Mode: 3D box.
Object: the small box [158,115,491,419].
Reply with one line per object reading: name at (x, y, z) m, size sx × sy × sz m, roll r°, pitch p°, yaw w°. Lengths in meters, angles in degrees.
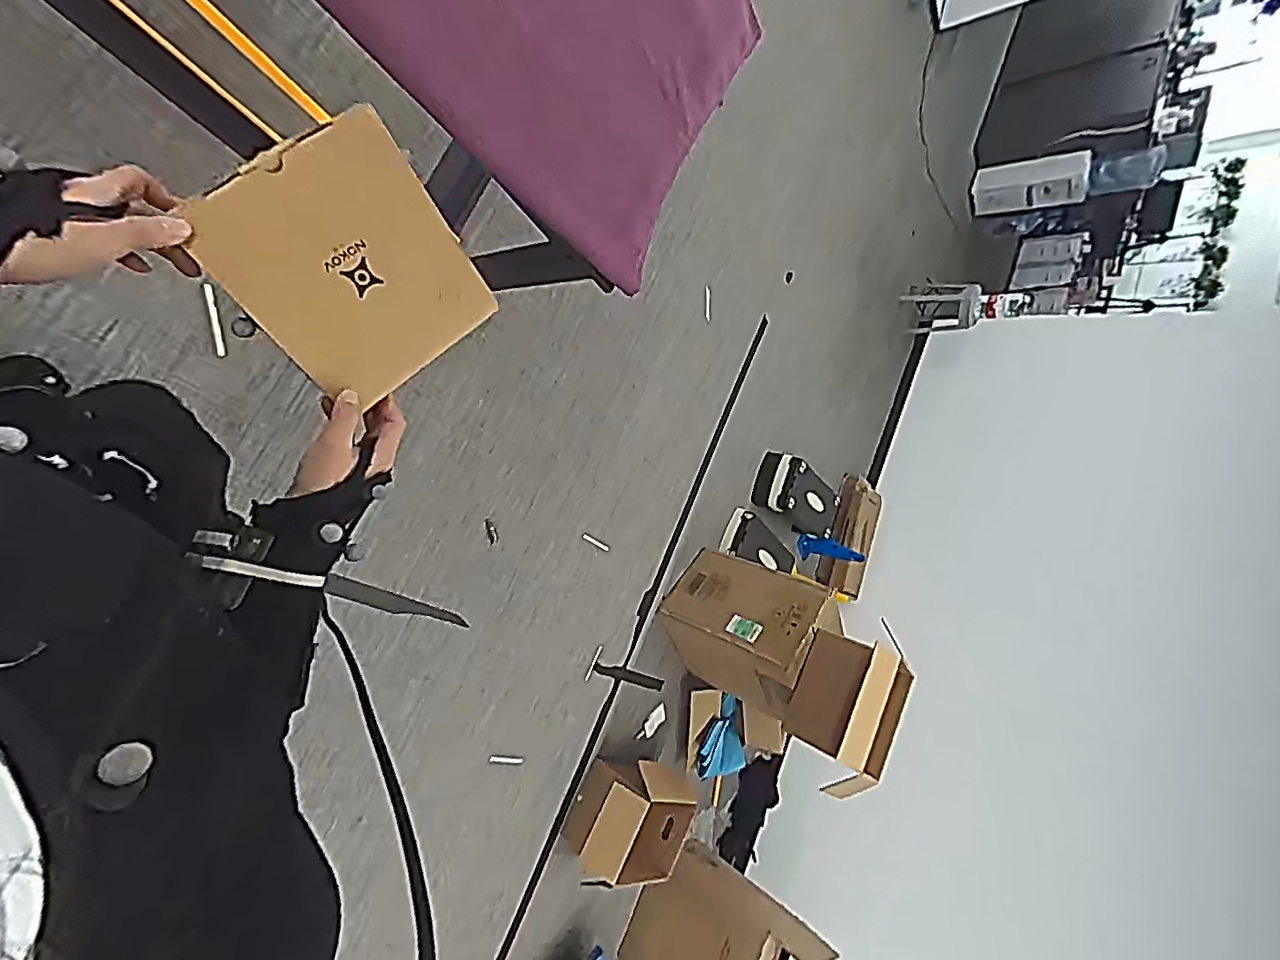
small box at (-0.273, -0.186, 0.486) m, size 0.168 × 0.176 × 0.179 m, roll -43°, pitch 128°, yaw -17°
